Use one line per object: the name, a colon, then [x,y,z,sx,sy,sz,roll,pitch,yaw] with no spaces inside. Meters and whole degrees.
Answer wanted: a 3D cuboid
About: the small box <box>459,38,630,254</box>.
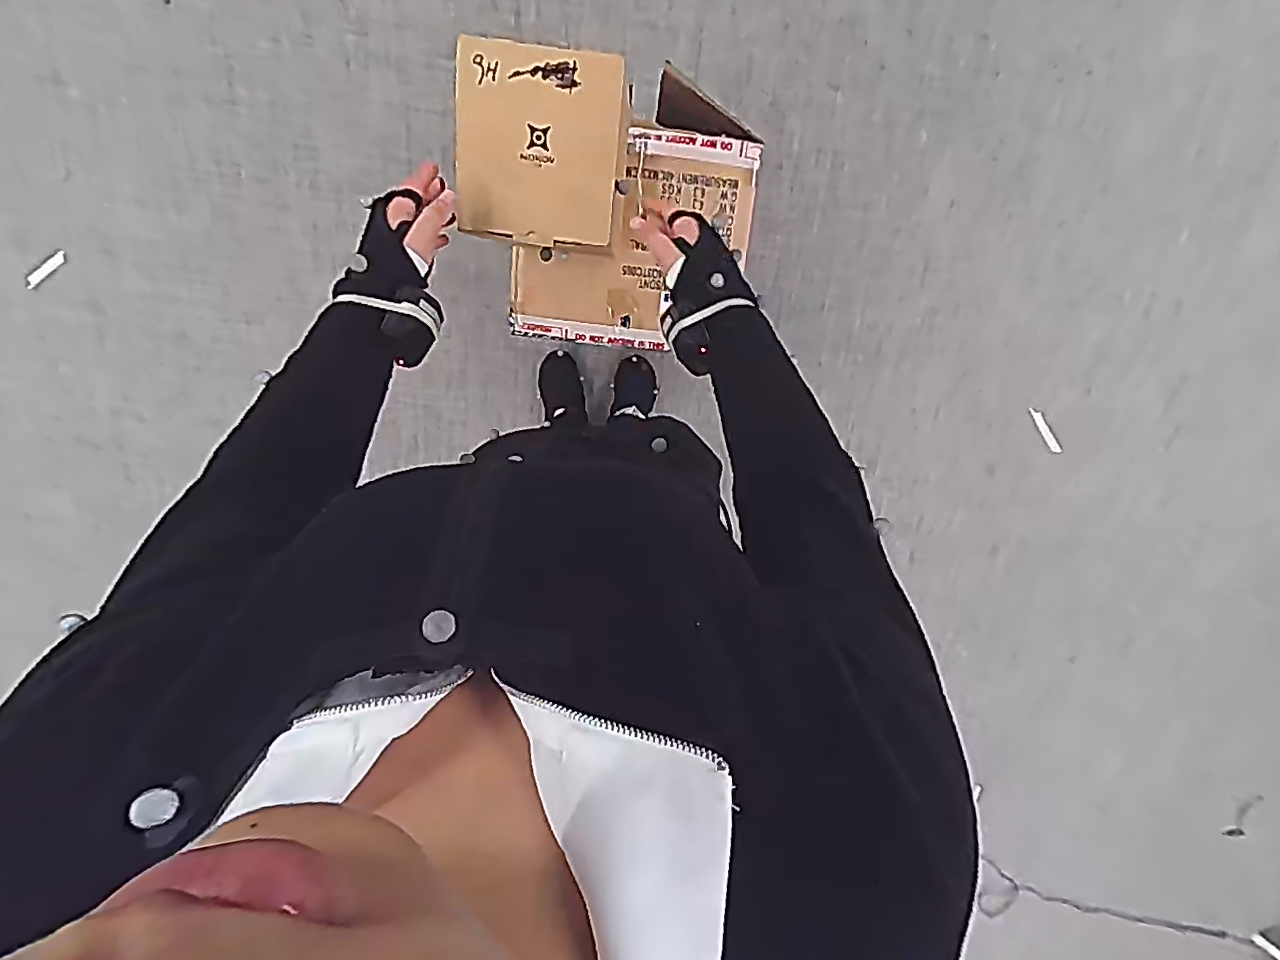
small box: [-0.102,-0.367,0.629,0.168,0.176,0.179,6,110,-1]
